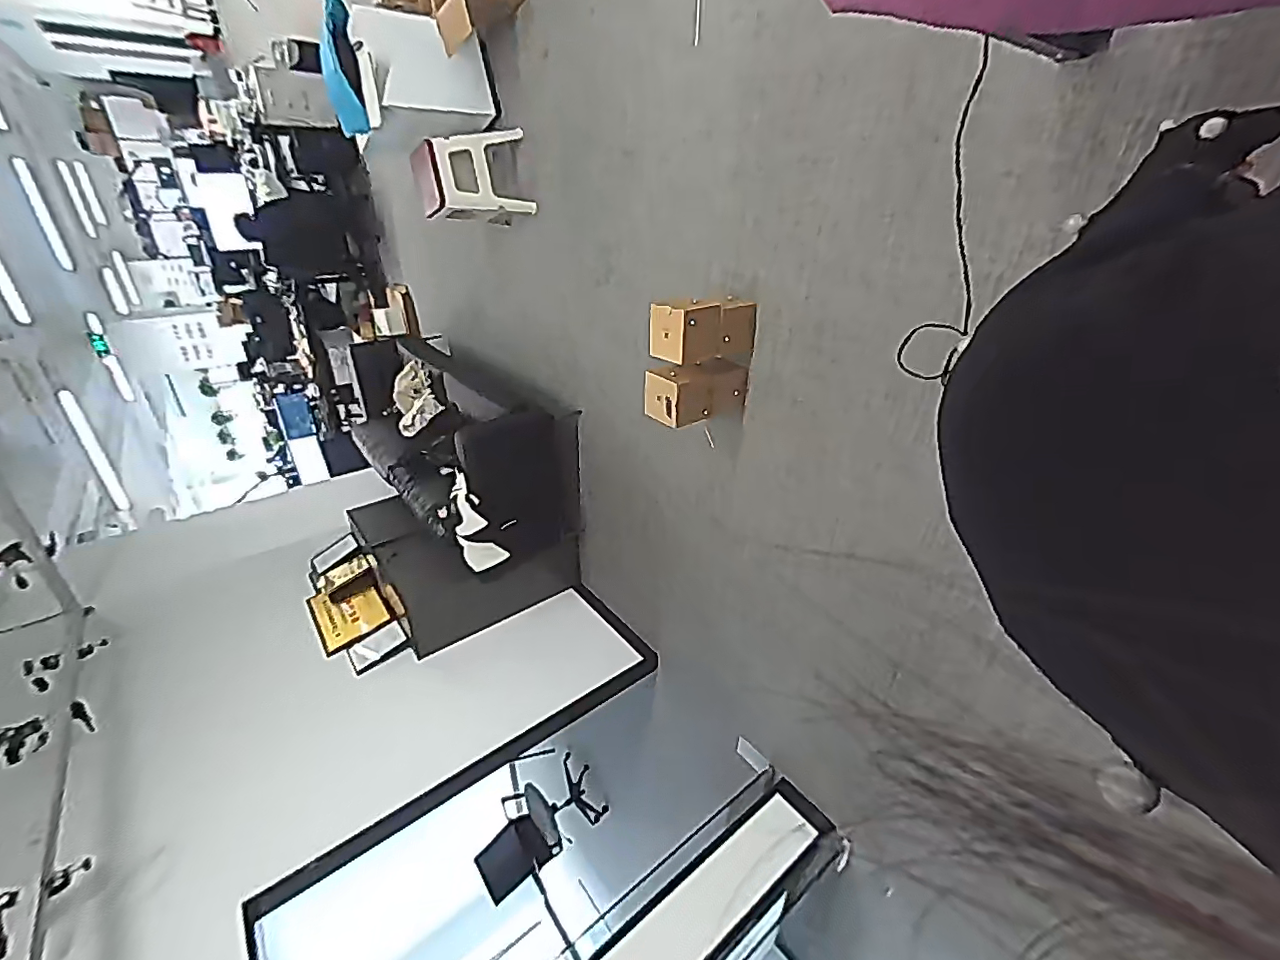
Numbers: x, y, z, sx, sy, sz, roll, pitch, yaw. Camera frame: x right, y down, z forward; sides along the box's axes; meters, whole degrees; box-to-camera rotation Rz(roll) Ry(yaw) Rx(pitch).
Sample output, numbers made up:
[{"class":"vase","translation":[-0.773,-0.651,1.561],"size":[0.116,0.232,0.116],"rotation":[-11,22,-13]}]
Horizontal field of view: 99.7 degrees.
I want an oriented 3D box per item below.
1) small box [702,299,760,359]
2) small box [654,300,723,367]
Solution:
[{"class":"small box","translation":[0.294,-0.536,1.898],"size":[0.179,0.176,0.168],"rotation":[32,132,44]},{"class":"small box","translation":[0.163,-0.495,1.809],"size":[0.168,0.176,0.179],"rotation":[30,130,44]}]
